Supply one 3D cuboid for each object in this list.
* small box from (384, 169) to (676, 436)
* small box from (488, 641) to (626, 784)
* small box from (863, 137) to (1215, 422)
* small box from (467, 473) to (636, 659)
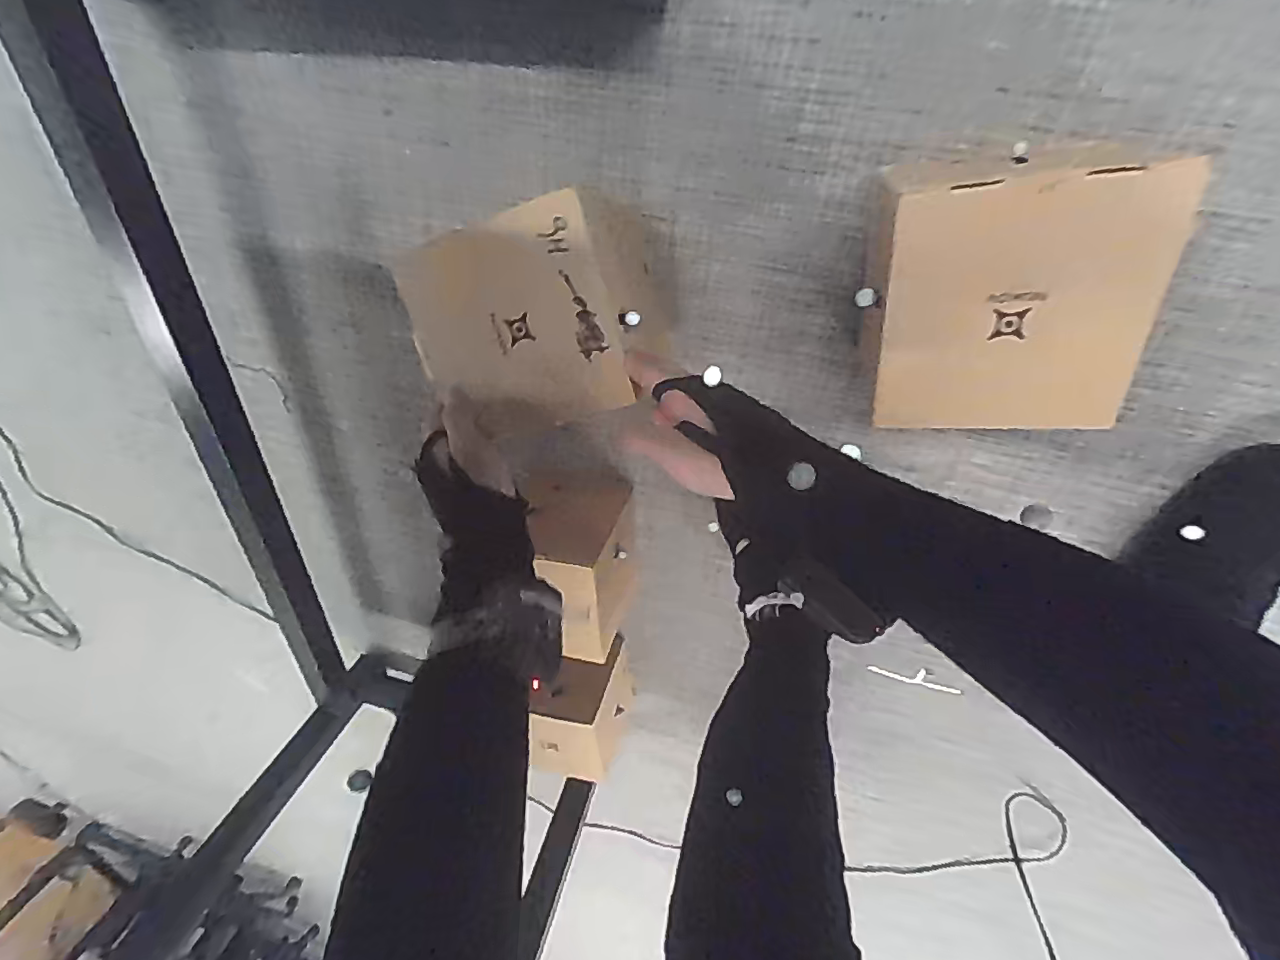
[{"bbox_3d":[-0.082,-0.155,0.495,0.179,0.176,0.168,-11,108,19],"label":"small box"},{"bbox_3d":[-0.126,0.371,0.912,0.179,0.176,0.168,6,124,14],"label":"small box"},{"bbox_3d":[0.278,-0.162,0.435,0.168,0.176,0.179,2,123,16],"label":"small box"},{"bbox_3d":[-0.106,0.108,0.735,0.168,0.176,0.179,7,124,14],"label":"small box"}]
